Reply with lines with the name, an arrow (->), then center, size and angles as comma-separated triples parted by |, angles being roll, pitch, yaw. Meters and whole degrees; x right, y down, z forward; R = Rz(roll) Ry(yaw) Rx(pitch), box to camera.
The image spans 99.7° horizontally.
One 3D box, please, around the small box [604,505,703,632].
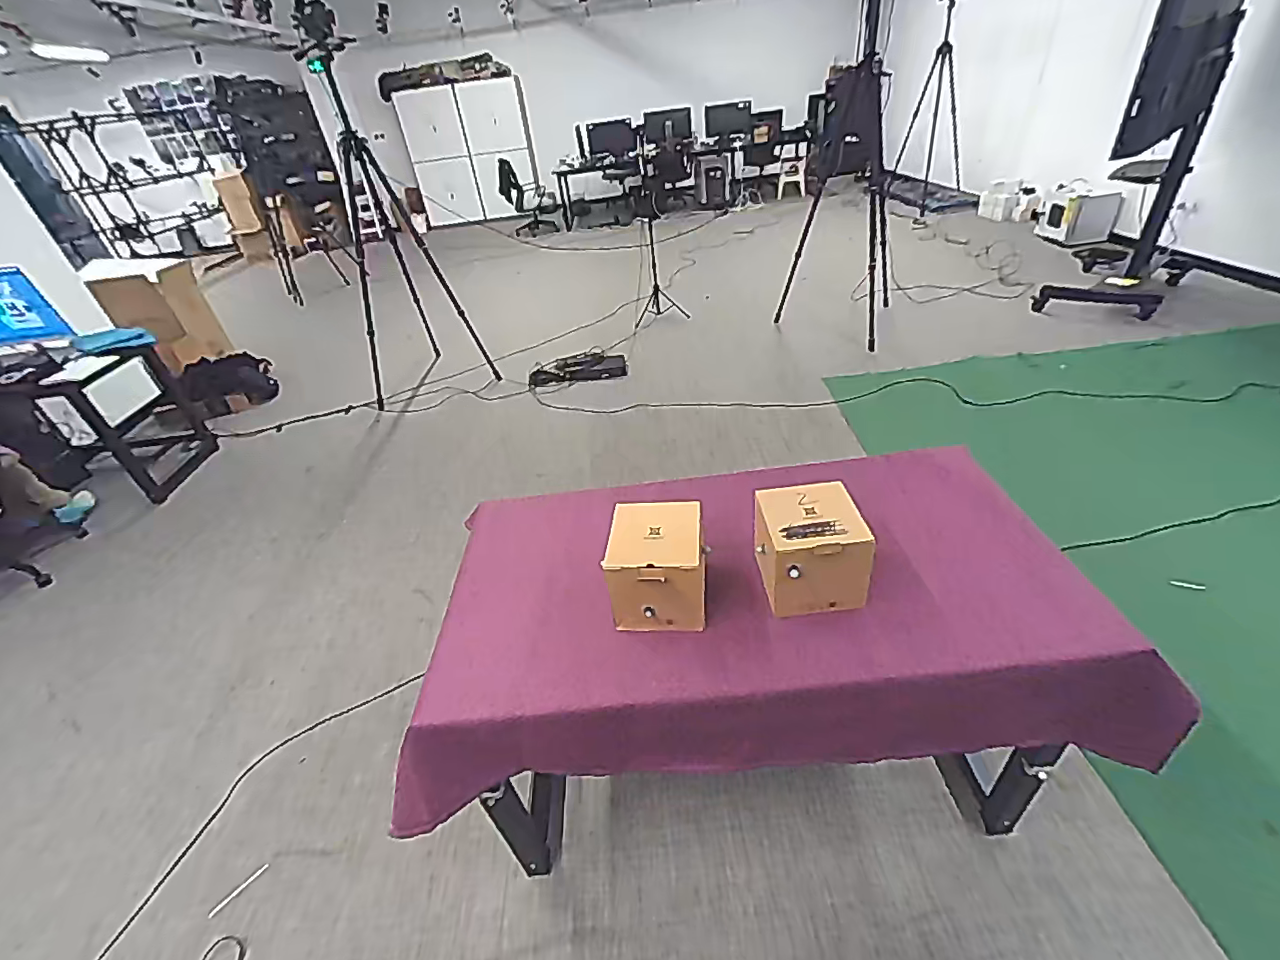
small box -> 0.034, 0.167, 1.035 | 0.168, 0.176, 0.179 | -2, 37, 9
